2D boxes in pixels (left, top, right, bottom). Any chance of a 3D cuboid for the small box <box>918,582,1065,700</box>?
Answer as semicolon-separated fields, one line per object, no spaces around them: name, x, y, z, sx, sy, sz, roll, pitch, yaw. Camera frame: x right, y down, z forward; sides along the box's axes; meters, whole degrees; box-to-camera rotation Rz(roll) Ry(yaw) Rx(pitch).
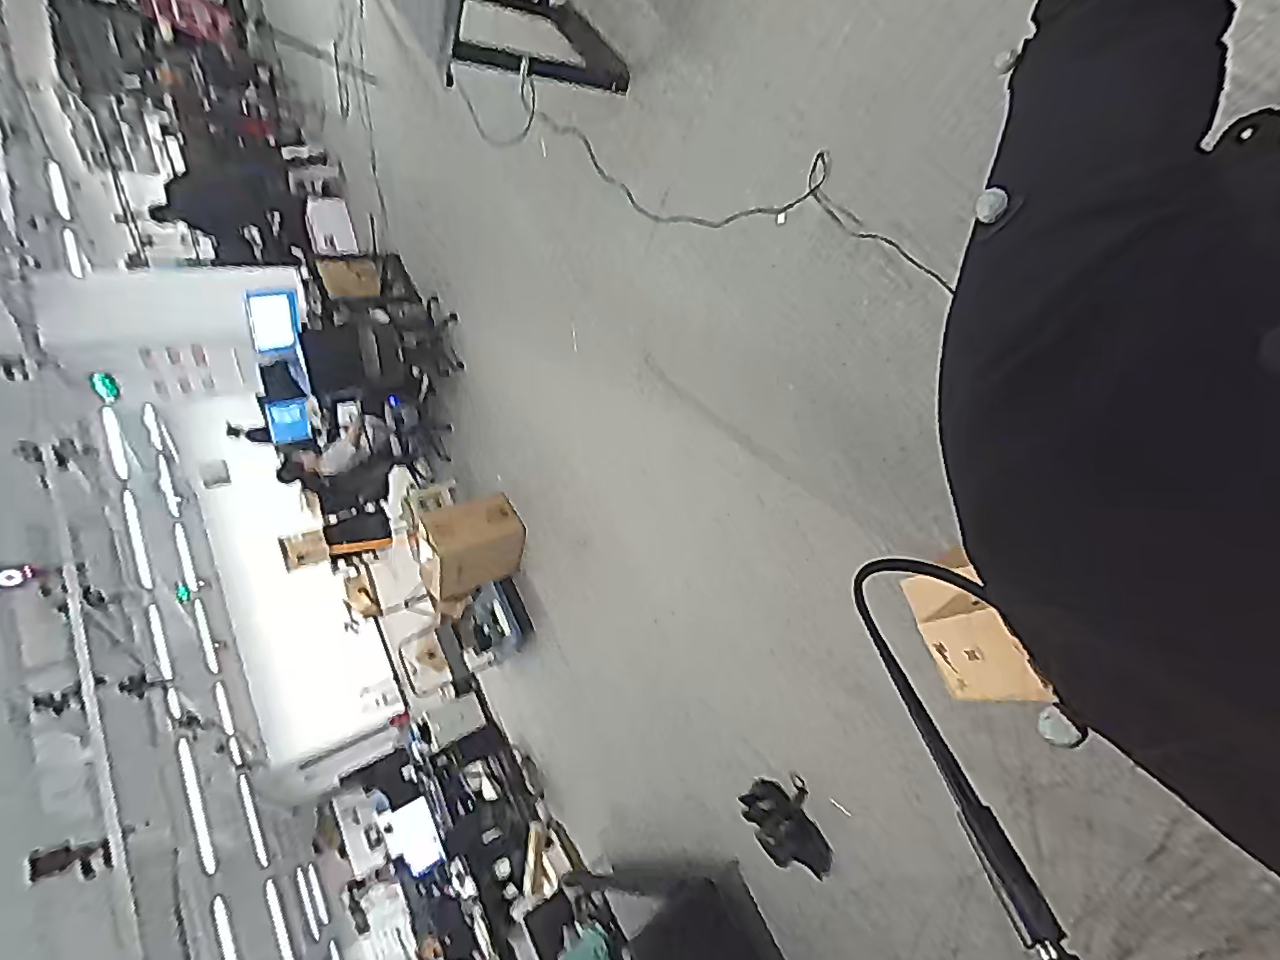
small box;0.719;0.324;1.099;0.179;0.176;0.168;-42;69;52
